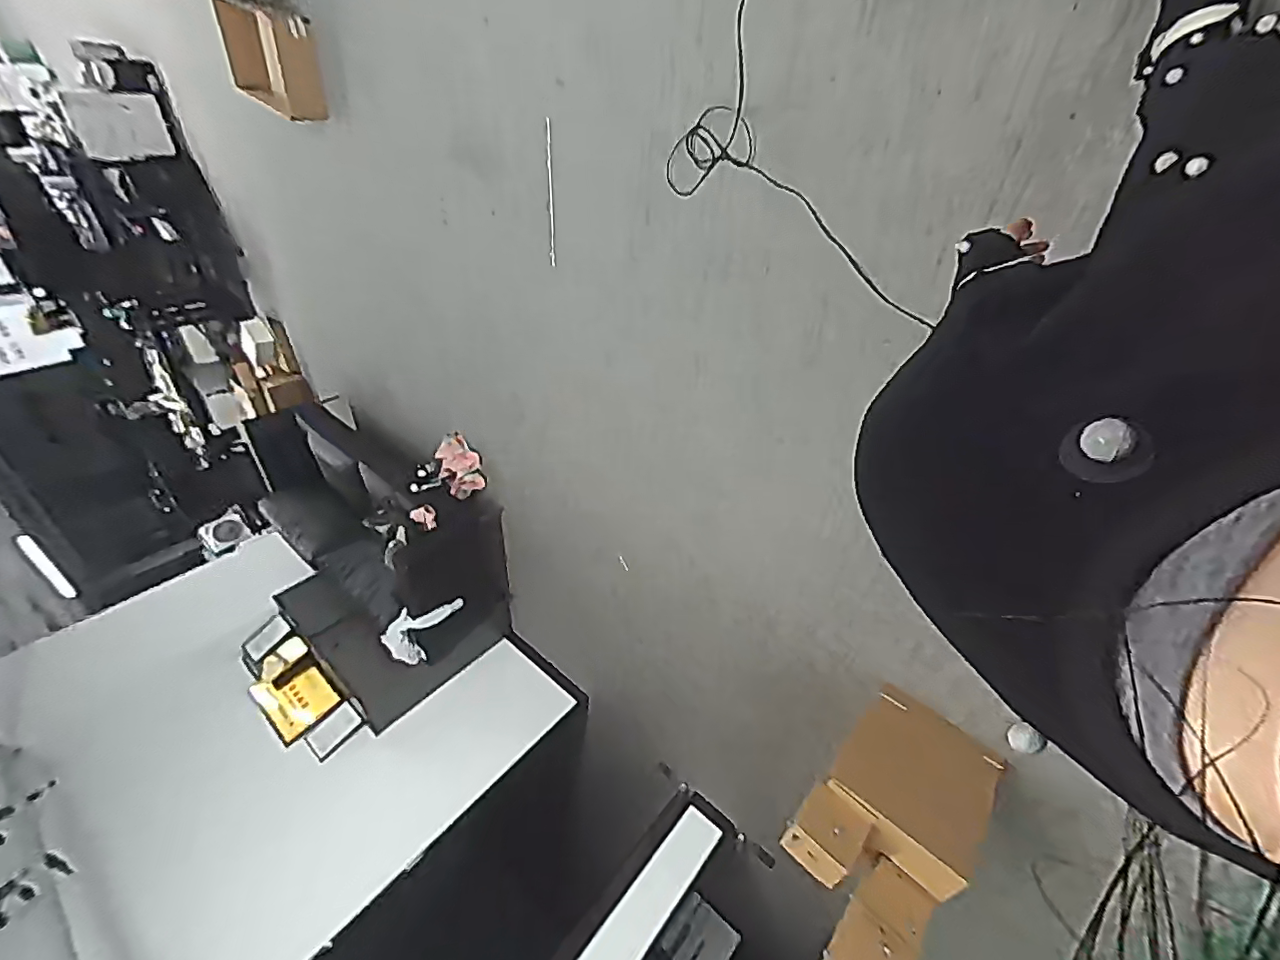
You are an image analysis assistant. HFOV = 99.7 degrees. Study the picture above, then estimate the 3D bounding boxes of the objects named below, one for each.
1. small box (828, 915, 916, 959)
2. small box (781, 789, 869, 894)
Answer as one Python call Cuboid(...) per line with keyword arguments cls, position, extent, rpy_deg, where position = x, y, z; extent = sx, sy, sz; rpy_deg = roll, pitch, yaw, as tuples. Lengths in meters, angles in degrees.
Cuboid(cls="small box", position=(0.630, 1.355, 1.486), extent=(0.168, 0.176, 0.179), rpy_deg=(34, 135, 24))
Cuboid(cls="small box", position=(0.561, 1.086, 1.635), extent=(0.179, 0.176, 0.168), rpy_deg=(33, 132, 26))
